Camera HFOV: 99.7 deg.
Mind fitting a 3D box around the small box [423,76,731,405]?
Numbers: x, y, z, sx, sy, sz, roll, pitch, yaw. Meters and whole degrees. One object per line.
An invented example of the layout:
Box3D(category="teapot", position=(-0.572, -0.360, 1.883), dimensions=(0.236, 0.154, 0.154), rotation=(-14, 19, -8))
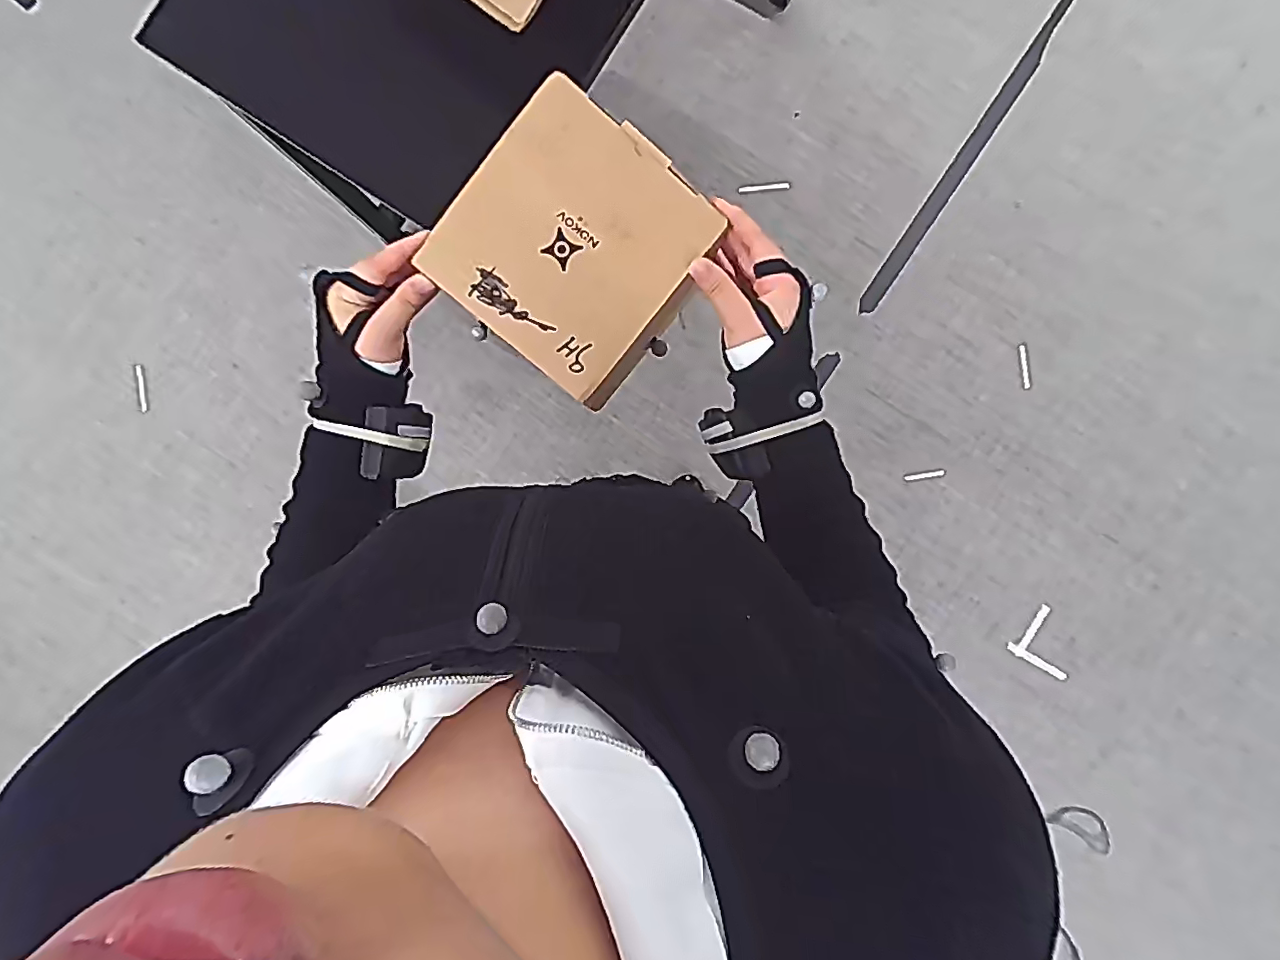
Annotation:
Box3D(category="small box", position=(-0.049, -0.185, 0.481), dimensions=(0.168, 0.176, 0.179), rotation=(40, 92, -4))
